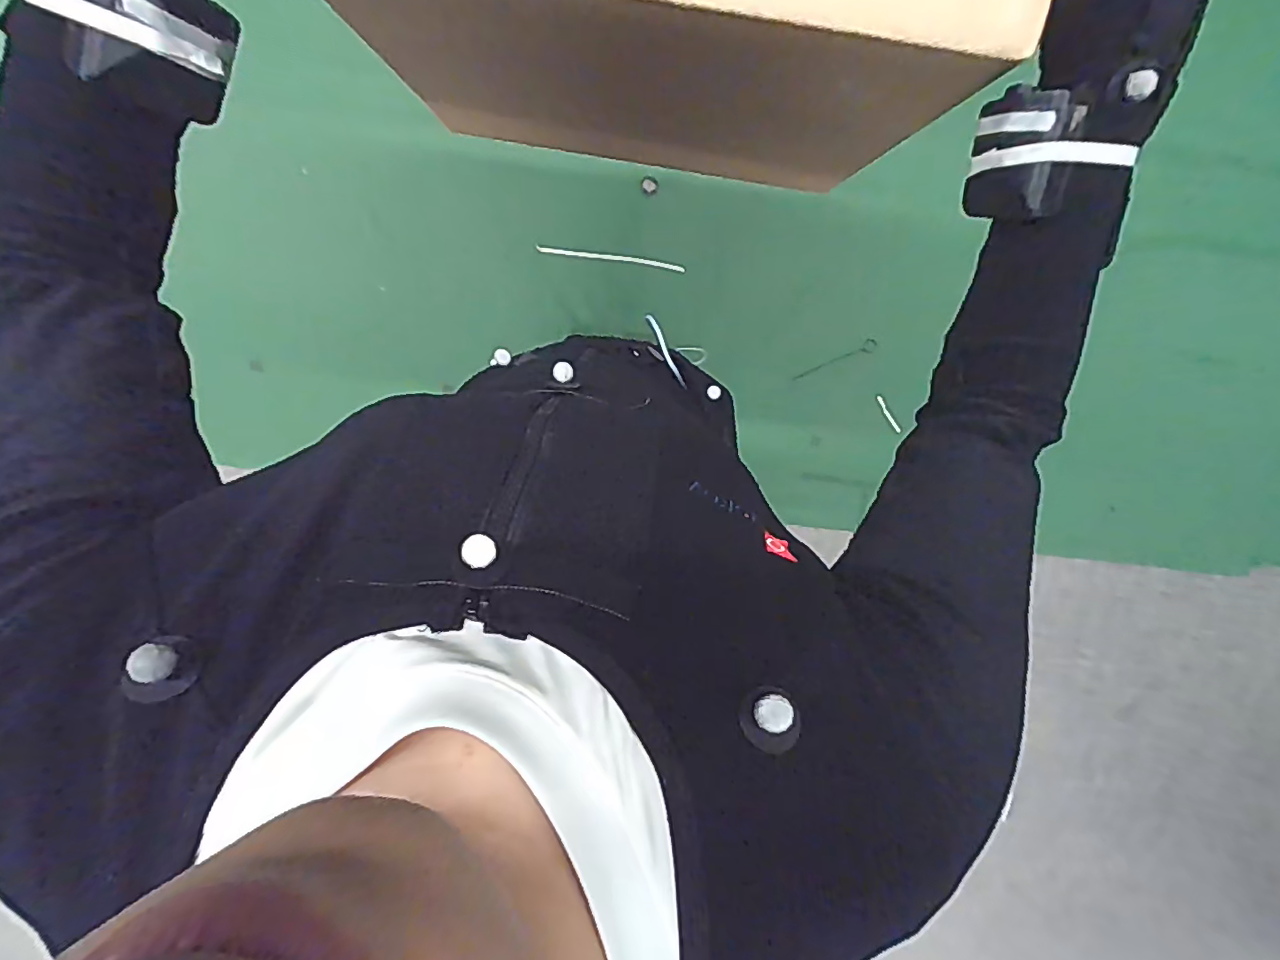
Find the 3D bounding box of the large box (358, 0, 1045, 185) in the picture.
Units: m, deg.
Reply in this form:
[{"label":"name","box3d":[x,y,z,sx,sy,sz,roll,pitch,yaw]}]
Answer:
[{"label":"large box","box3d":[0.032,-0.441,0.388,0.408,0.320,0.320,7,106,-4]}]
